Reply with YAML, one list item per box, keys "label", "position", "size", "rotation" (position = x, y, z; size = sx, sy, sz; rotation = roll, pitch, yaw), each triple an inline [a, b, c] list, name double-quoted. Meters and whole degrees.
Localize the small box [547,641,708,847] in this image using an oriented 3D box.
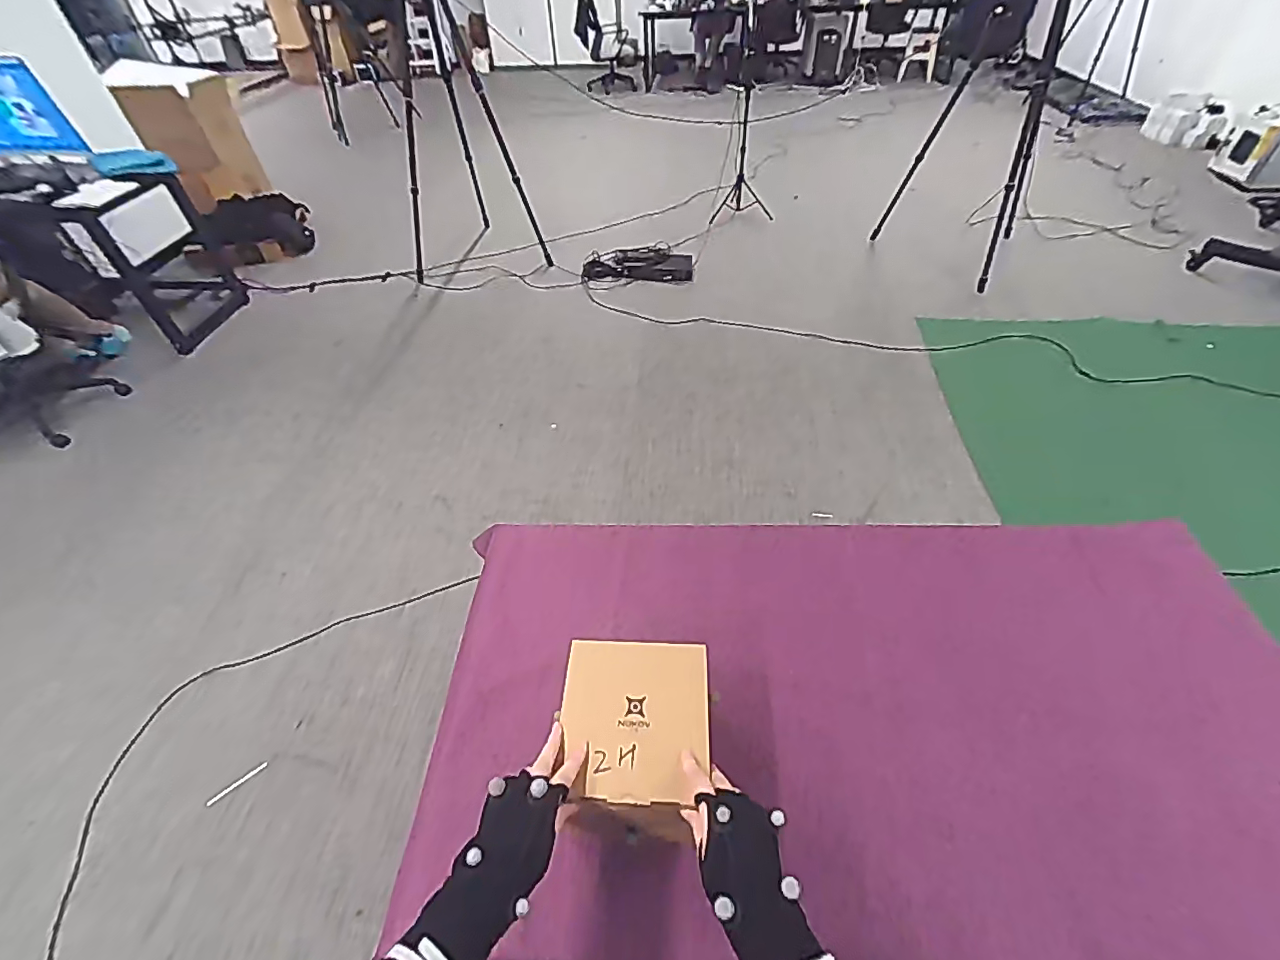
- label: "small box"
  position: [-0.006, 0.318, 0.654]
  size: [0.168, 0.176, 0.179]
  rotation: [1, 45, 4]
